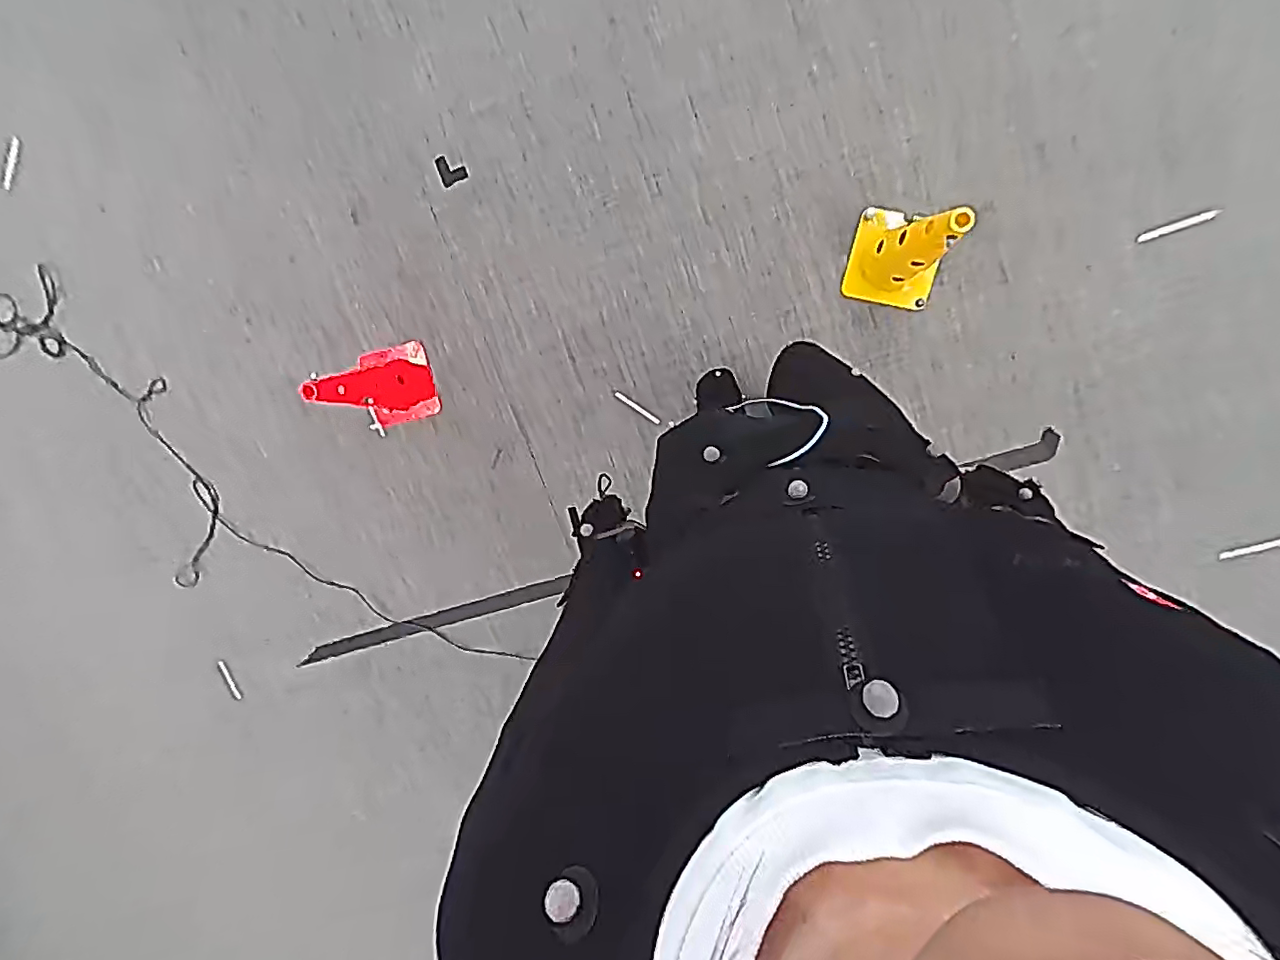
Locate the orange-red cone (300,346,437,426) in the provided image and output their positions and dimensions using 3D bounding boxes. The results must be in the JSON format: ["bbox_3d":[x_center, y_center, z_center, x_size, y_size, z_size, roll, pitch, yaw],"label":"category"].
[{"bbox_3d":[-0.684,-0.219,1.314,0.199,0.360,0.198,-11,101,8],"label":"orange-red cone"}]

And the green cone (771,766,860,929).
[{"bbox_3d":[0.493,0.987,1.428,0.202,0.368,0.200,-34,95,14],"label":"green cone"}]
